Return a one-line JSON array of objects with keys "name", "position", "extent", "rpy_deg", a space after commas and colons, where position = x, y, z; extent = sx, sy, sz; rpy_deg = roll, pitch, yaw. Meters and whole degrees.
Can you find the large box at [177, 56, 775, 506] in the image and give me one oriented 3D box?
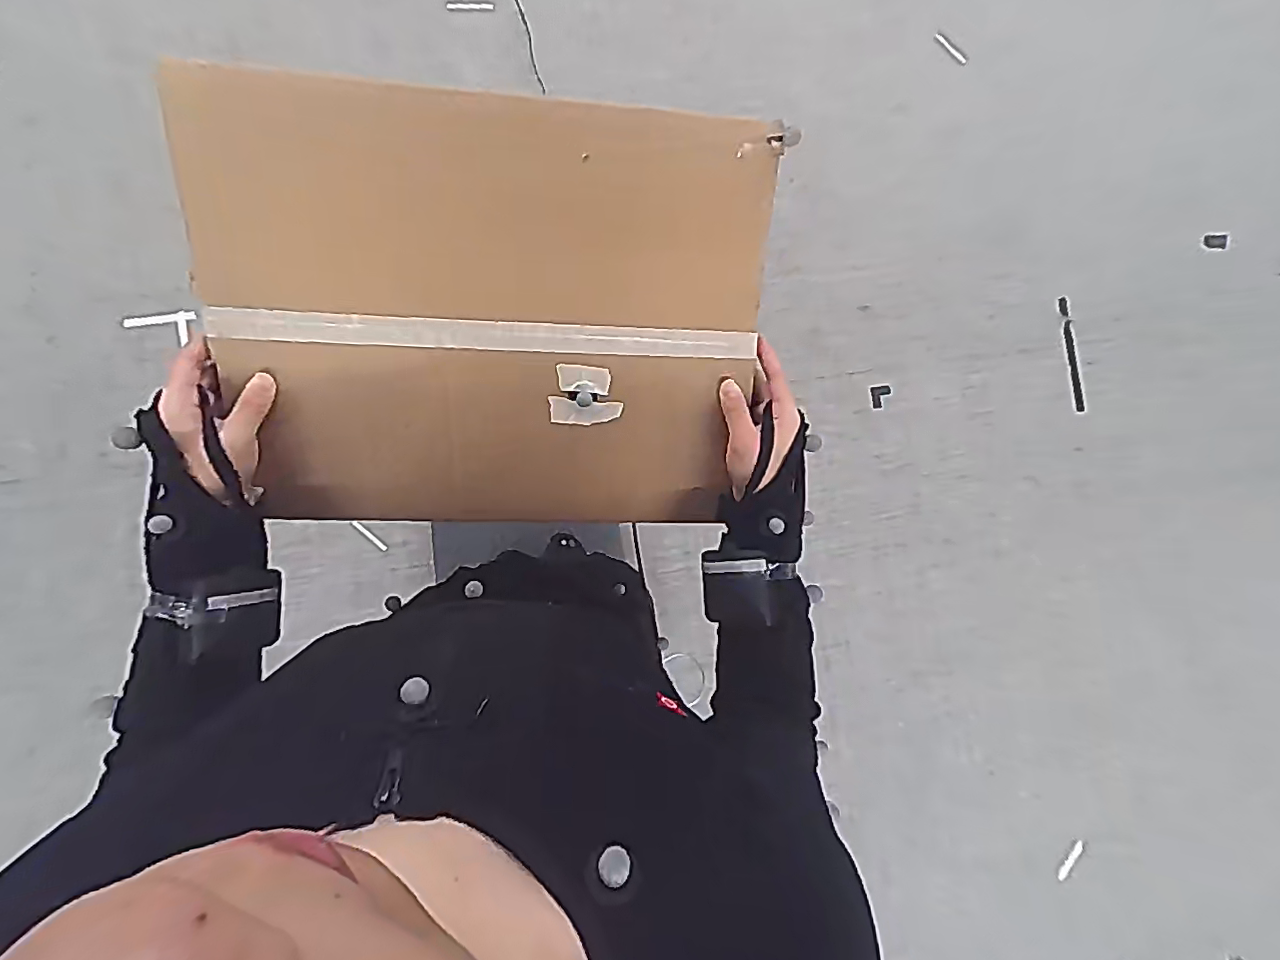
[{"name": "large box", "position": [-0.124, -0.174, 0.554], "extent": [0.408, 0.320, 0.320], "rpy_deg": [1, 111, -8]}]
